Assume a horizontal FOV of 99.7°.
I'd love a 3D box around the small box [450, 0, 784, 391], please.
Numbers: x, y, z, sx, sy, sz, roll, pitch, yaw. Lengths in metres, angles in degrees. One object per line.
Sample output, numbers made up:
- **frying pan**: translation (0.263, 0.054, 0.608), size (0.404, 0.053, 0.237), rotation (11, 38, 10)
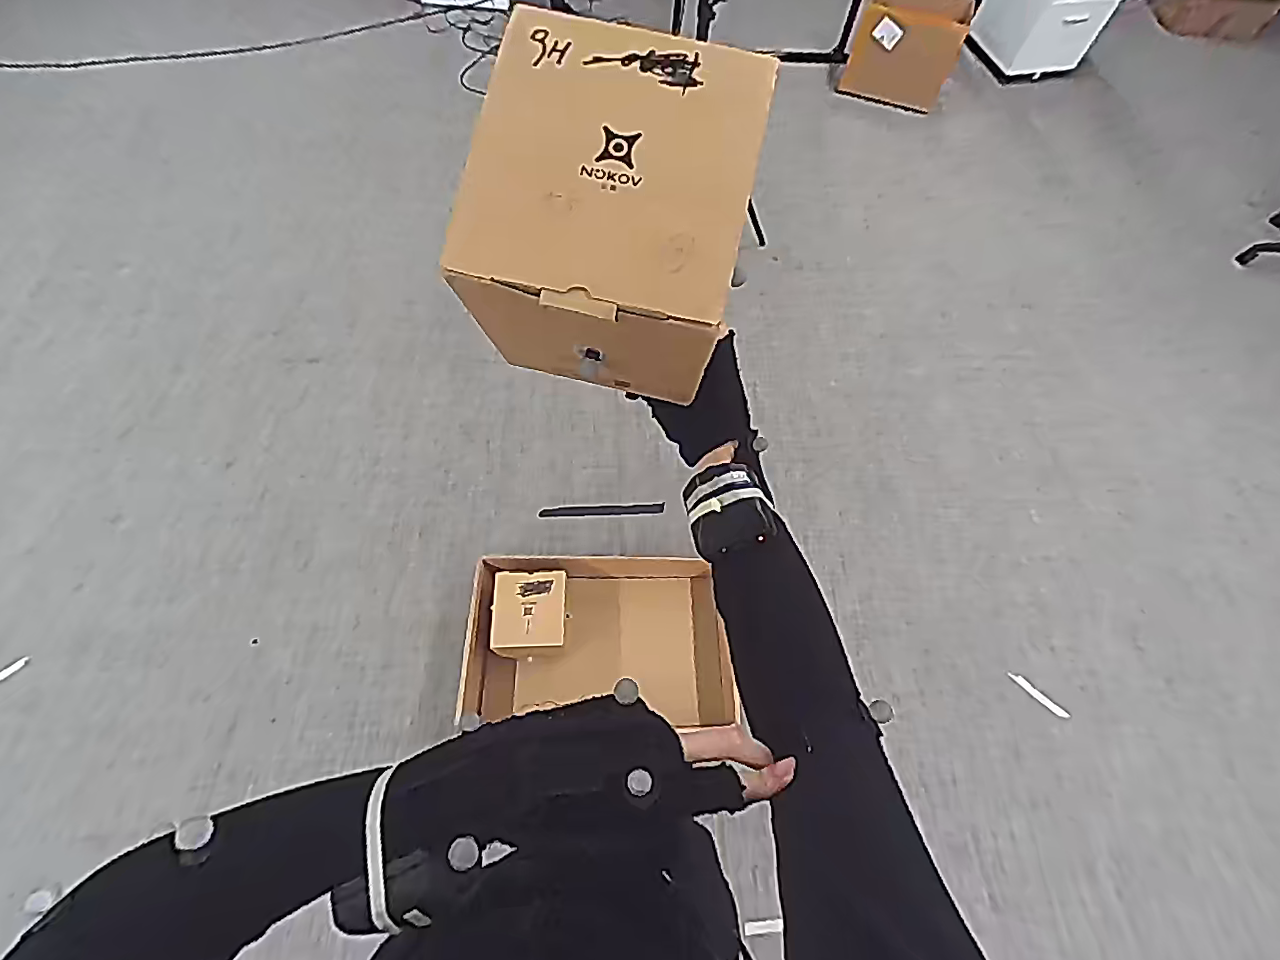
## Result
- **small box**: translation (-0.011, -0.179, 0.394), size (0.168, 0.176, 0.179), rotation (13, 84, 1)
